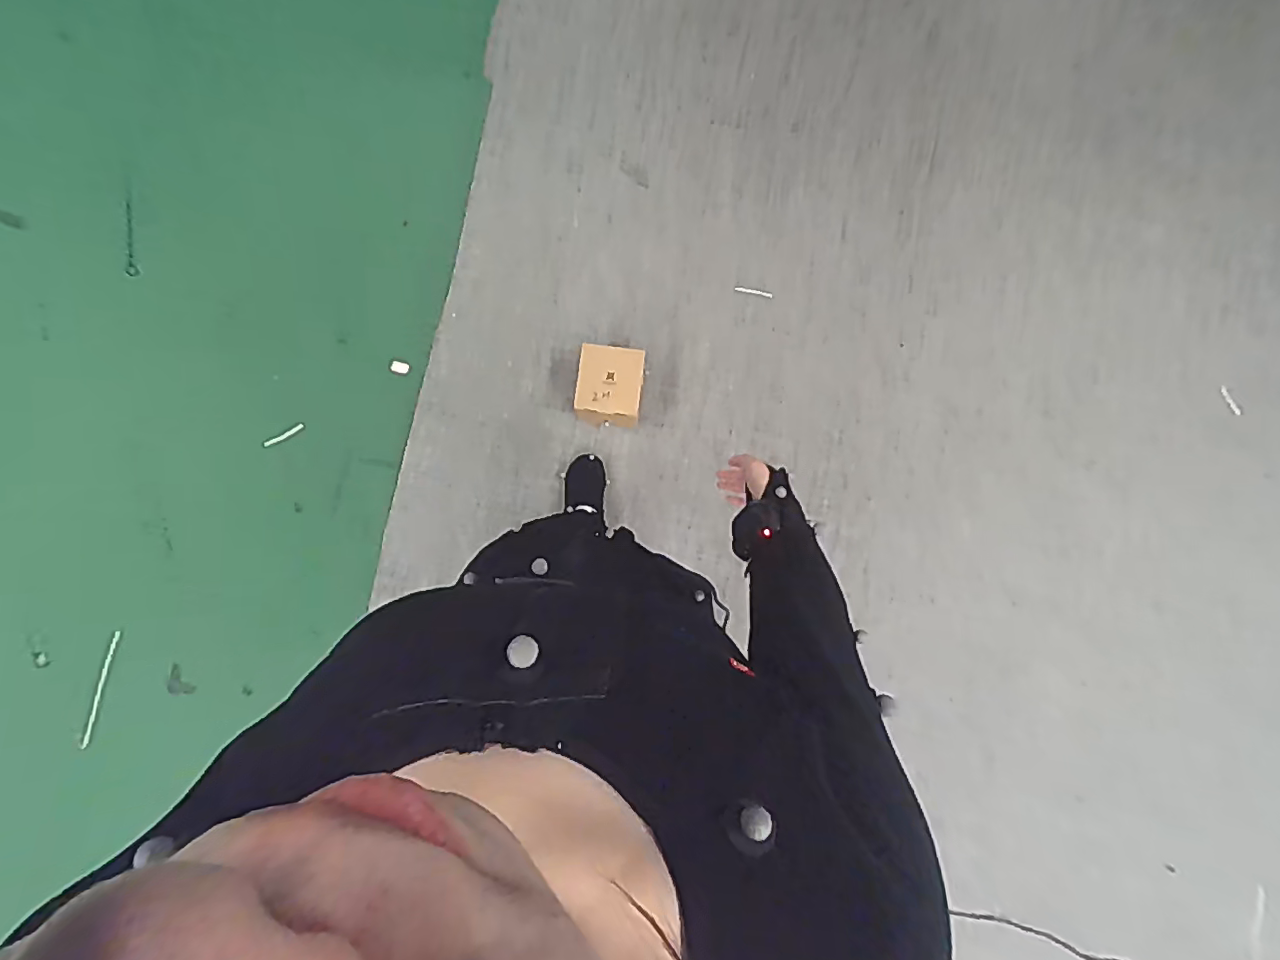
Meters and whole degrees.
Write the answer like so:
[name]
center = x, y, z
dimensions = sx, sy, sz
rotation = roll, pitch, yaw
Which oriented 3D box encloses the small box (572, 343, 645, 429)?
[small box]
center = -0.082, -0.246, 1.448
dimensions = 0.168, 0.176, 0.179
rotation = 7, 85, 0
